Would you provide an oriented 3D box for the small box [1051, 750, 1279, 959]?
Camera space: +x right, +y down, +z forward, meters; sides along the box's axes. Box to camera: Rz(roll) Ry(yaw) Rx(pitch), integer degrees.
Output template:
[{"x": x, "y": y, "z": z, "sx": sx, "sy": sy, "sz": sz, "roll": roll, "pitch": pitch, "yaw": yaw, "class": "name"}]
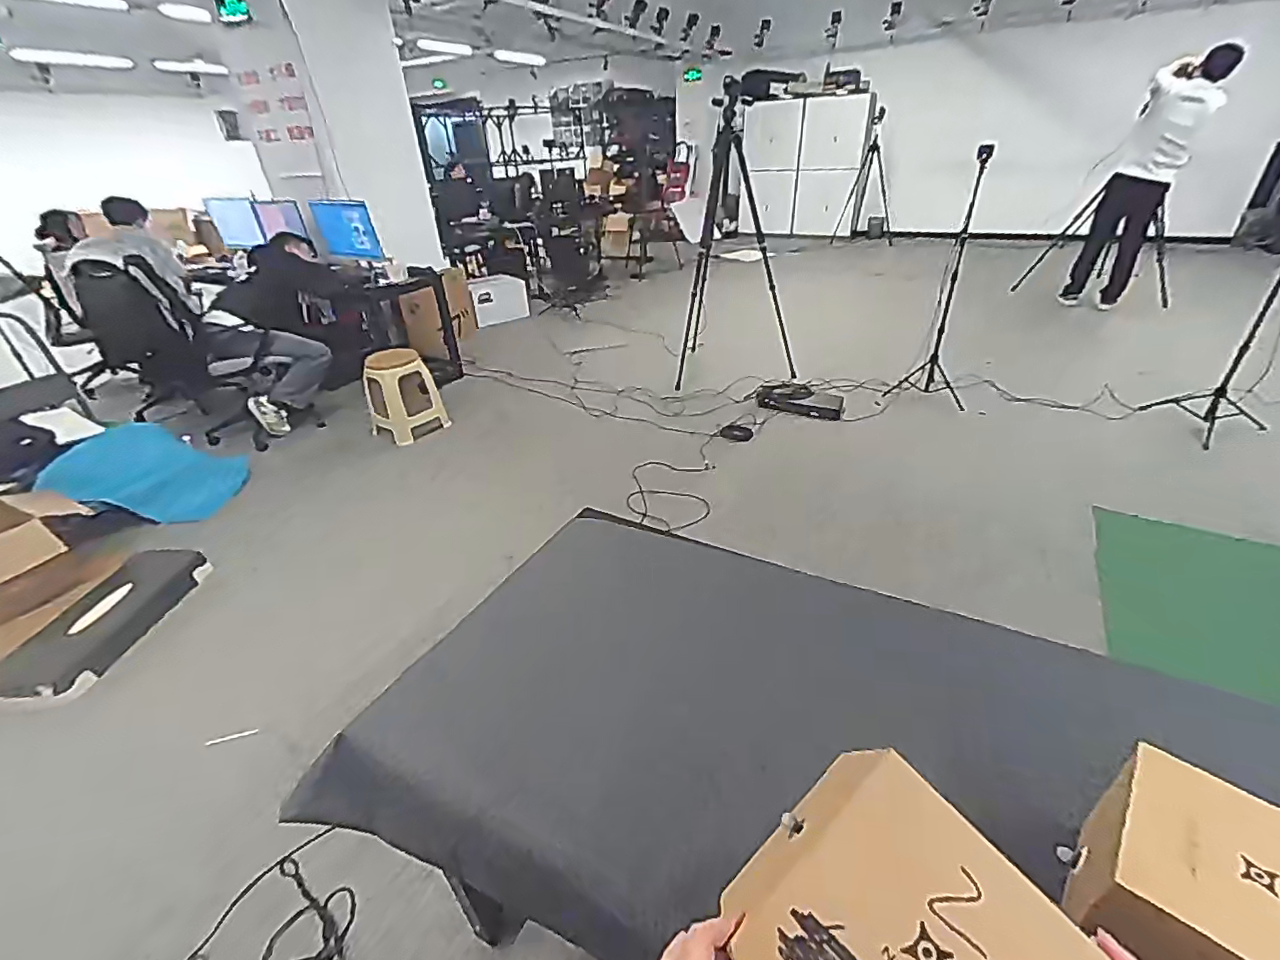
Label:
[{"x": 0.501, "y": 0.390, "z": 0.468, "sx": 0.179, "sy": 0.176, "sz": 0.168, "roll": 23, "pitch": 39, "yaw": 38, "class": "small box"}]
